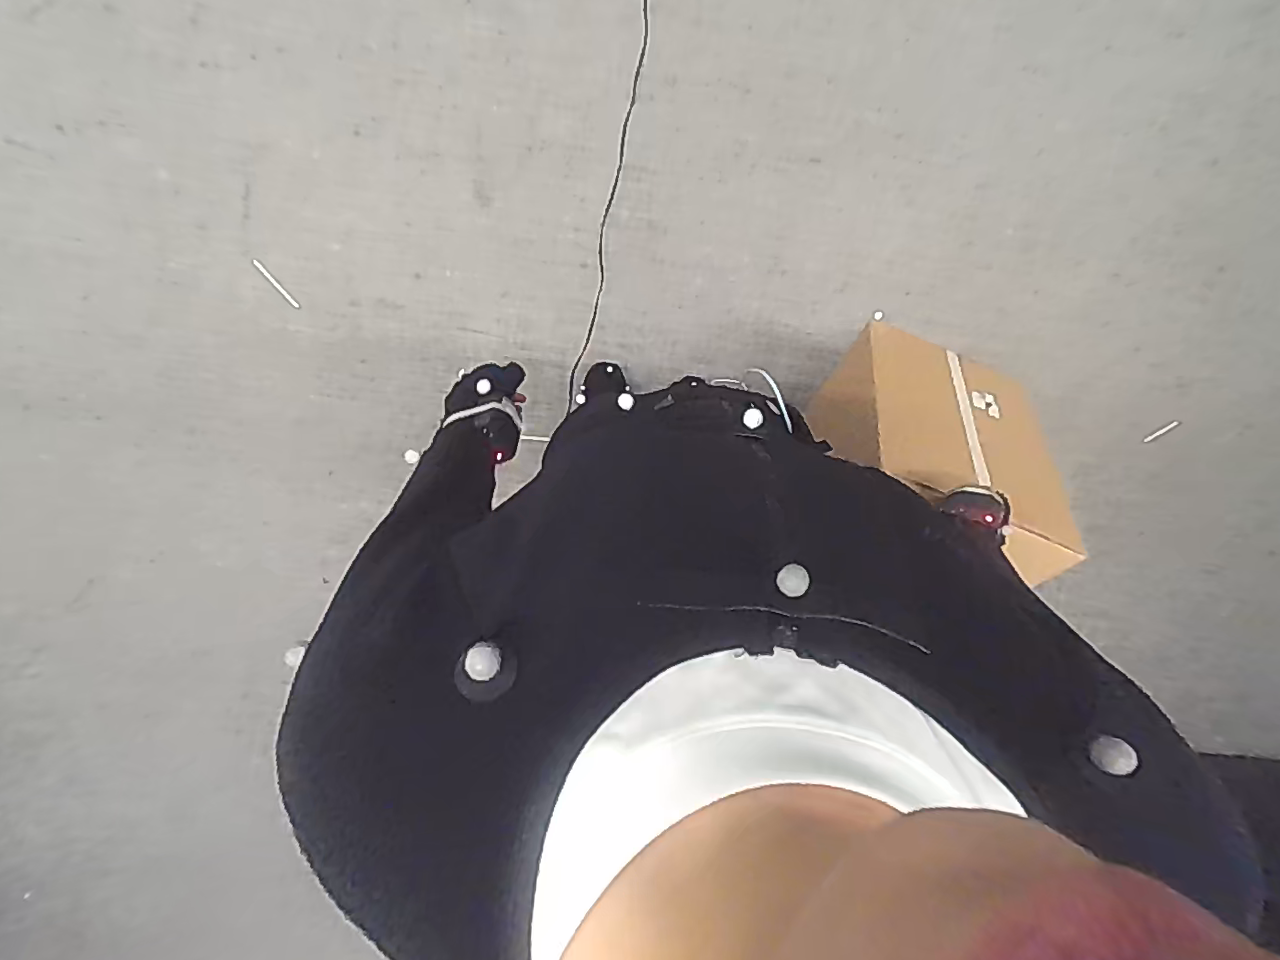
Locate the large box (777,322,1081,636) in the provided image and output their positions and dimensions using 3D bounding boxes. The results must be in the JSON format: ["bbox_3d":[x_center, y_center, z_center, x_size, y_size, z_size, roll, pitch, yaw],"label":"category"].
[{"bbox_3d":[0.460,-0.001,0.963,0.320,0.408,0.320,23,137,-4],"label":"large box"}]
